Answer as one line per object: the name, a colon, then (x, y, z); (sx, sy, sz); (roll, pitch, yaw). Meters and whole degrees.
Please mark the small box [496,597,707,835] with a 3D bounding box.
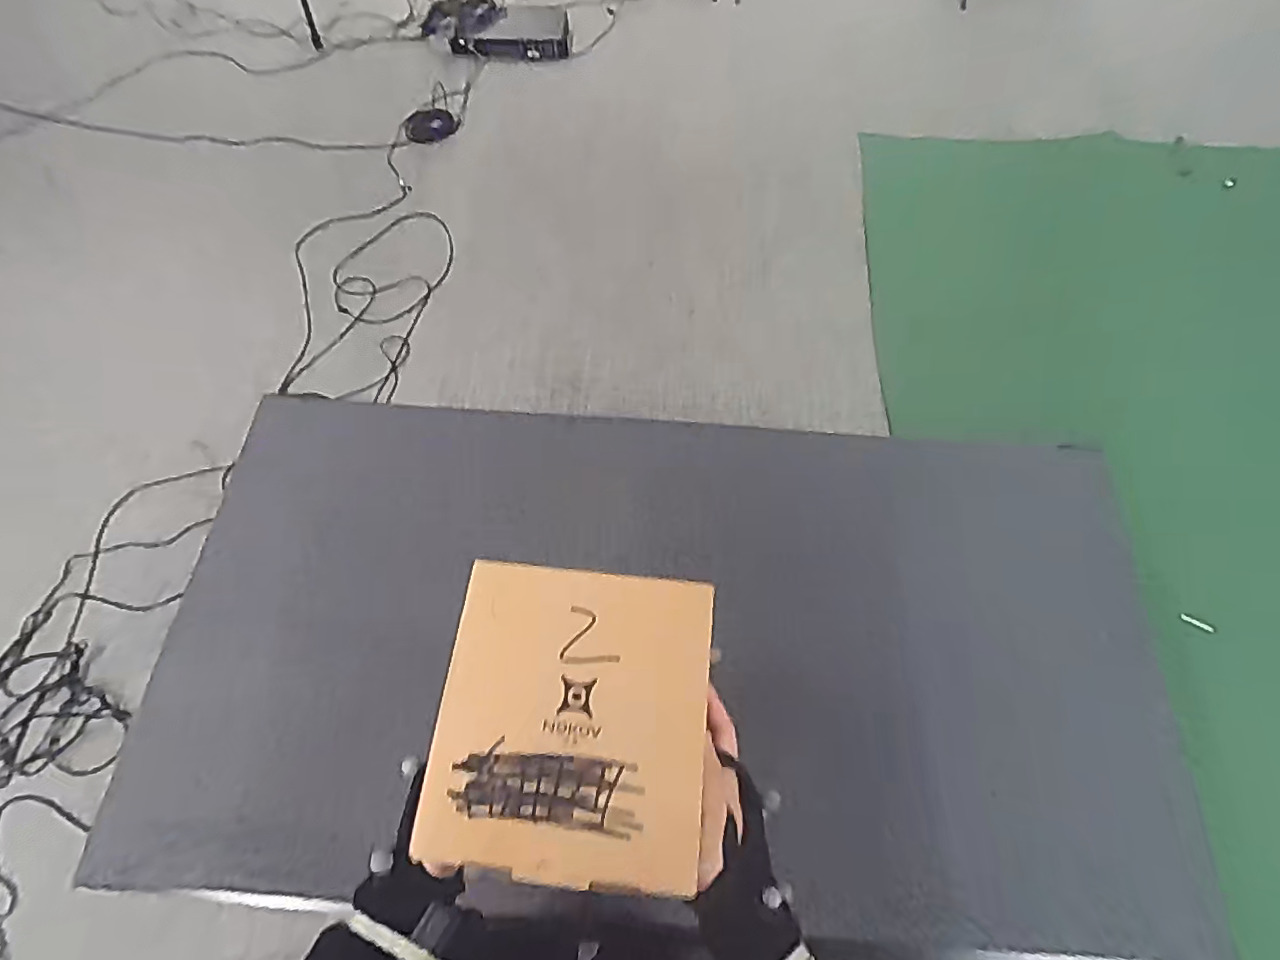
small box: (-0.029, 0.233, 0.557); (0.168, 0.176, 0.179); (8, 68, 5)
